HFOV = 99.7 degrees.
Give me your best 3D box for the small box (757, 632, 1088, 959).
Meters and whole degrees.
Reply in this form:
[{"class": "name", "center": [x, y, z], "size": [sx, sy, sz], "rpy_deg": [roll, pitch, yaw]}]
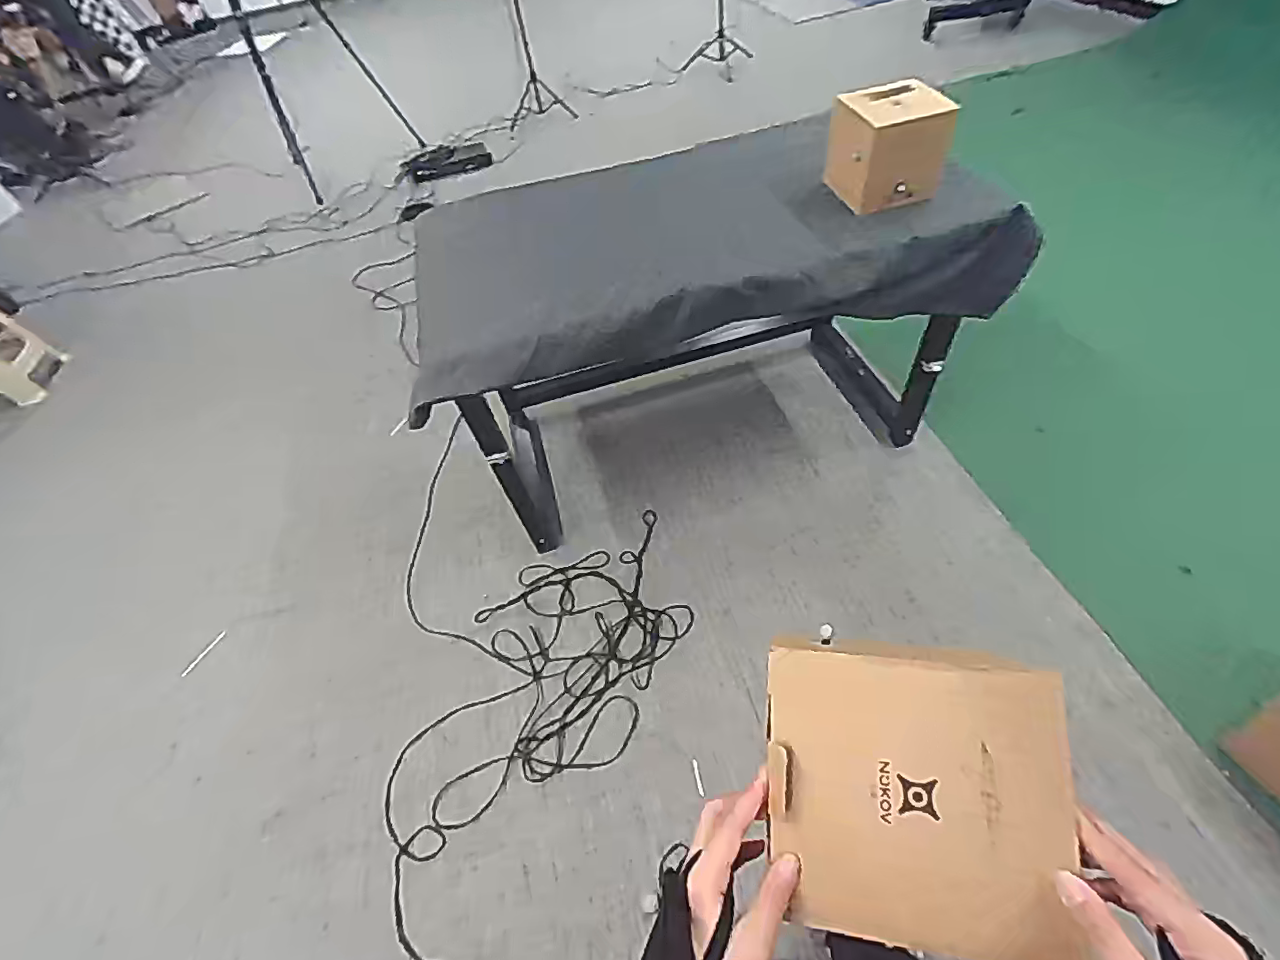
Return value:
[{"class": "small box", "center": [0.182, 0.206, 0.406], "size": [0.179, 0.176, 0.168], "rpy_deg": [-1, 77, 14]}]
